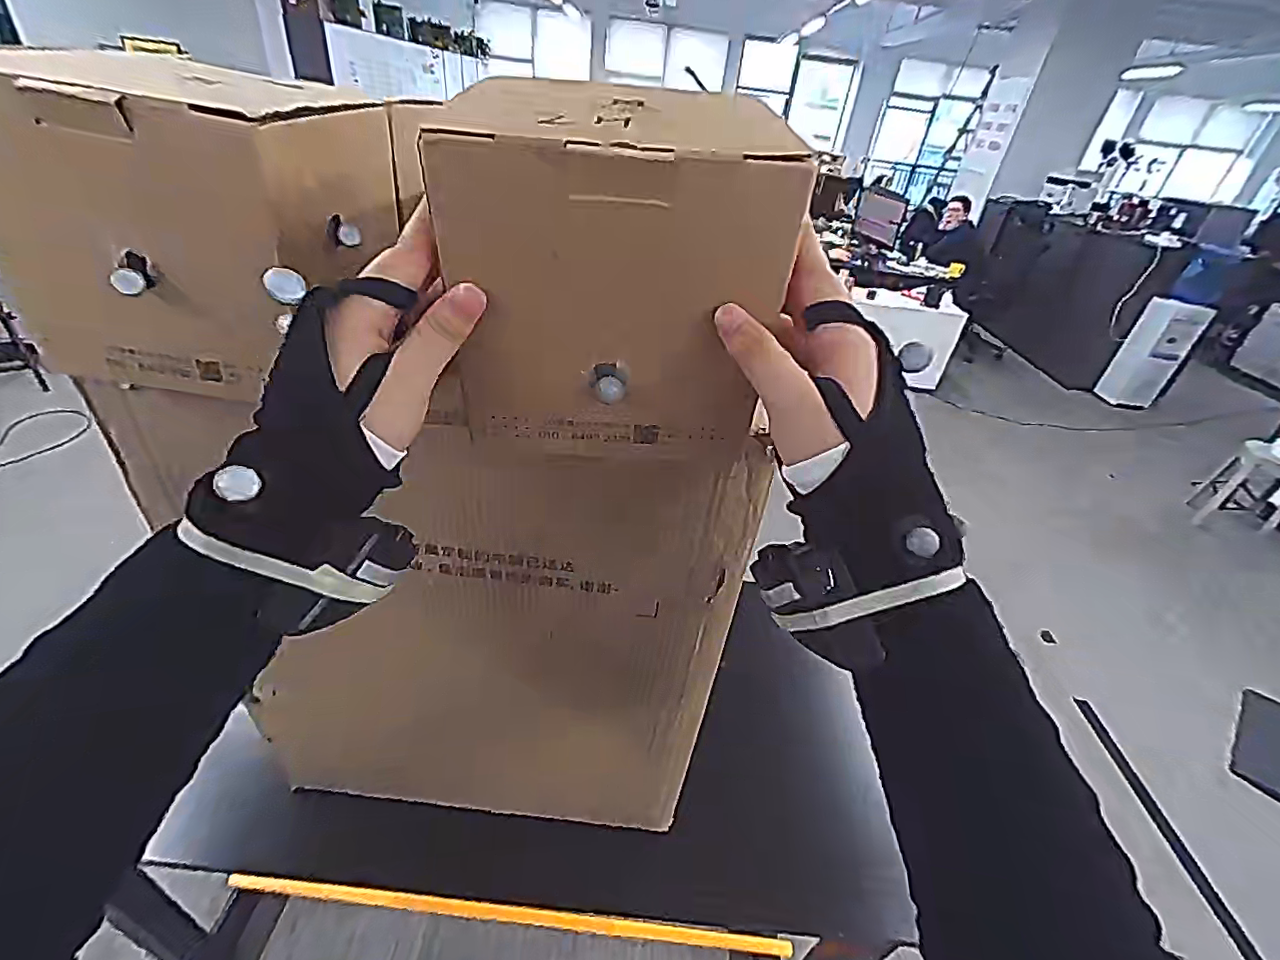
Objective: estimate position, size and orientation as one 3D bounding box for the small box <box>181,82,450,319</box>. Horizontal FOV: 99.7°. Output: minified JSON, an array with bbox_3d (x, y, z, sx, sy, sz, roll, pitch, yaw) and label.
[{"bbox_3d":[-0.285,-0.274,0.535,0.168,0.176,0.179,6,34,-2],"label":"small box"}]

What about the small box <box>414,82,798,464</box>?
[{"bbox_3d":[-0.018,-0.132,0.340,0.168,0.176,0.179,2,42,-2],"label":"small box"}]
